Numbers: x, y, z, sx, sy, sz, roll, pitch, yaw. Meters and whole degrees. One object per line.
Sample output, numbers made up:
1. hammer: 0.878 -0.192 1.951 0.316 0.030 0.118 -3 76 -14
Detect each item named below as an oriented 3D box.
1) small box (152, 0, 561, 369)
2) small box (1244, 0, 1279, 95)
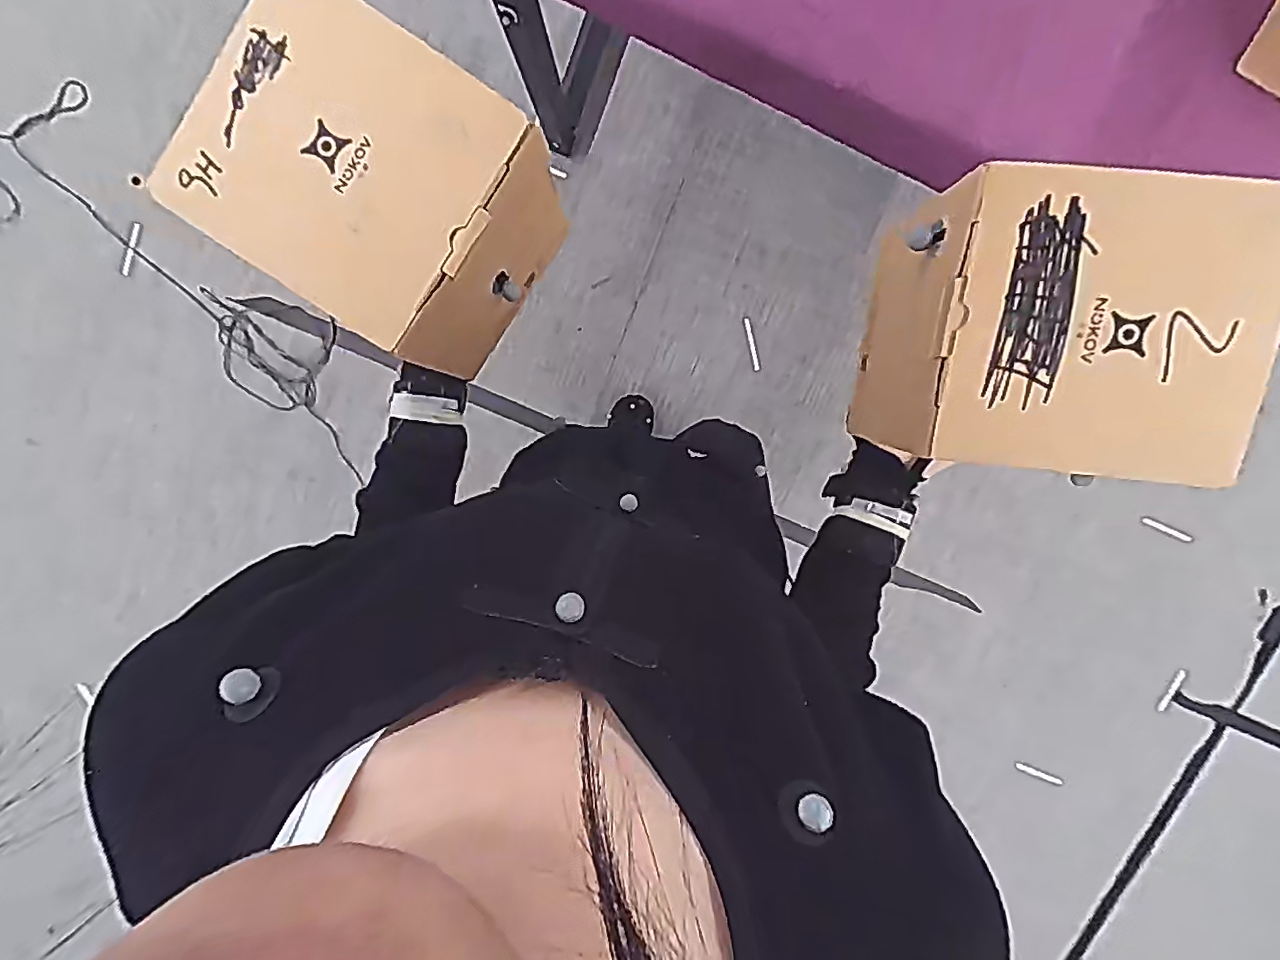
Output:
1. small box: -0.176 -0.198 0.401 0.179 0.176 0.168 33 93 -4
2. small box: 0.835 -0.526 0.580 0.168 0.176 0.179 27 97 -3
